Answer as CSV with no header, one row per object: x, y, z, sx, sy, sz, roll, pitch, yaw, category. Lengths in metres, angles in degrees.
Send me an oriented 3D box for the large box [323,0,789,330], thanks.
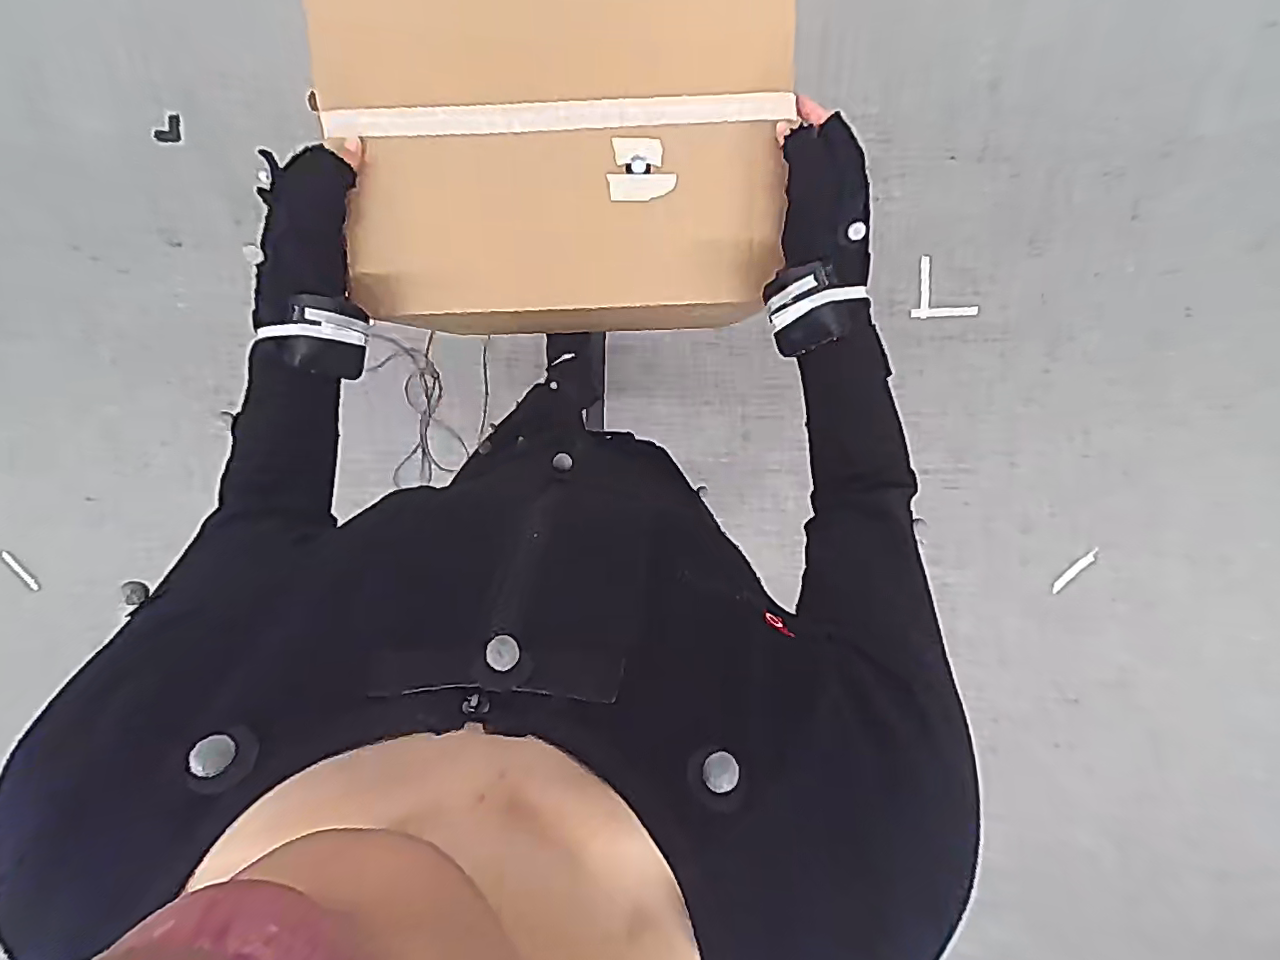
-0.071,-0.353,0.623,0.408,0.320,0.320,-3,102,-1,large box
